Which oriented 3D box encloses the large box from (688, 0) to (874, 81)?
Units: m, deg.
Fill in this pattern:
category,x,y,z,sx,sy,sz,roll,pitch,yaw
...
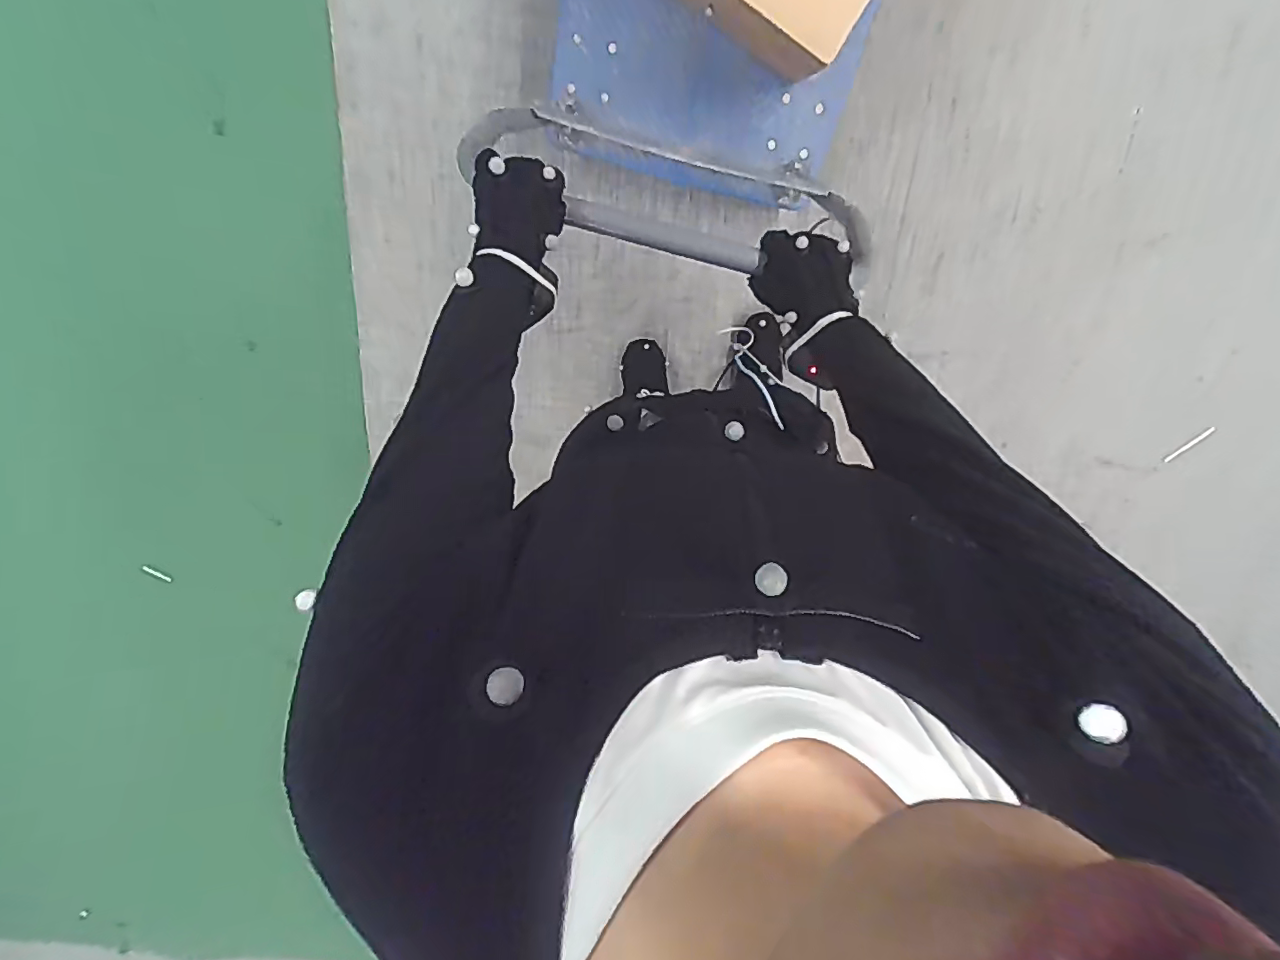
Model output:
category,x,y,z,sx,sy,sz,roll,pitch,yaw
large box,0.202,-0.884,0.813,0.408,0.320,0.320,29,121,-11
